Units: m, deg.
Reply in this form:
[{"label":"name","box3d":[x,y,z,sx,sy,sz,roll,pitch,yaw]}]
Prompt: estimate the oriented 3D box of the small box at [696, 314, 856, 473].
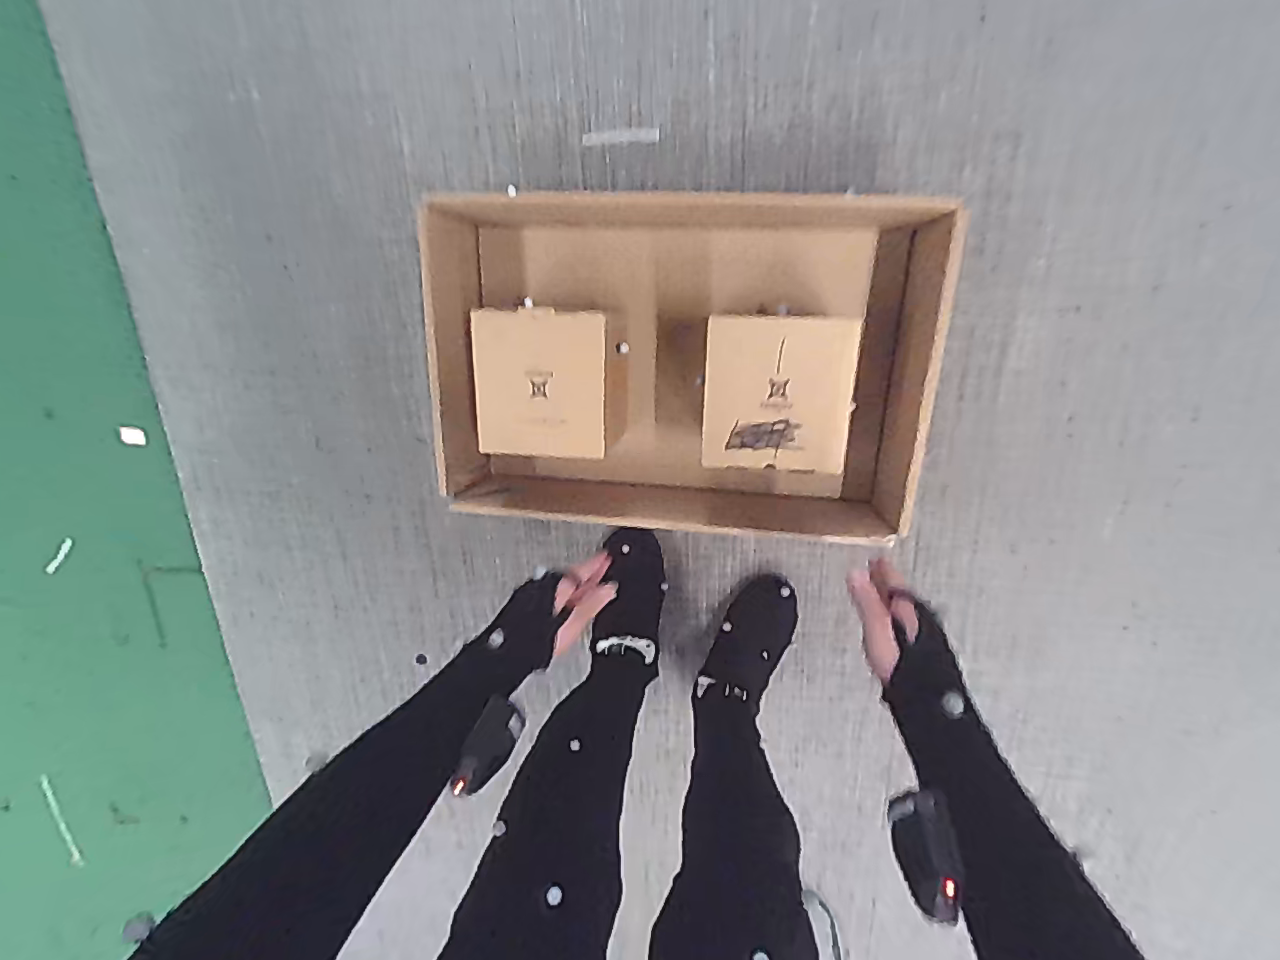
[{"label":"small box","box3d":[0.164,-0.117,0.691,0.168,0.176,0.179,3,105,8]}]
